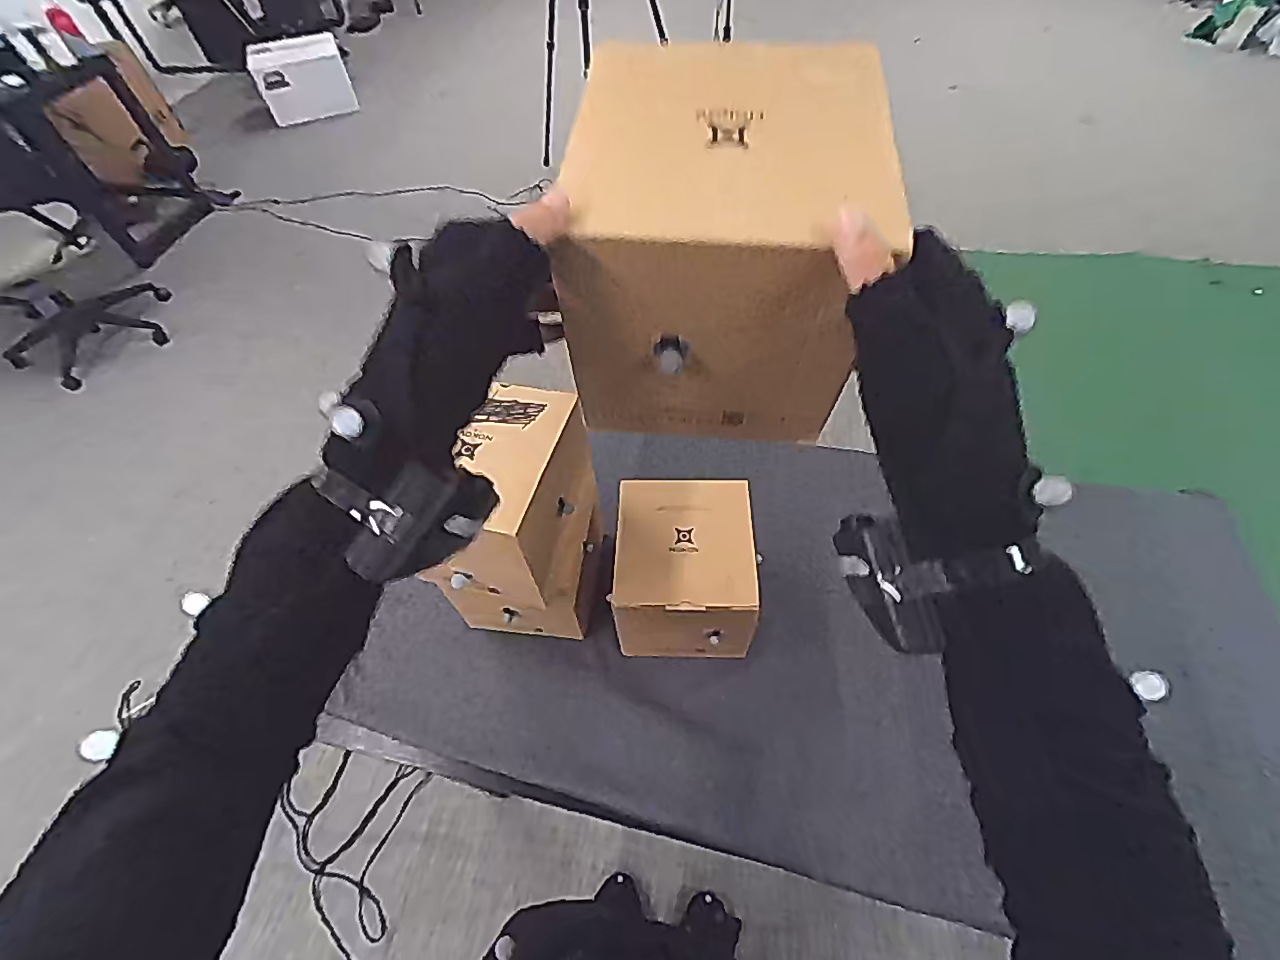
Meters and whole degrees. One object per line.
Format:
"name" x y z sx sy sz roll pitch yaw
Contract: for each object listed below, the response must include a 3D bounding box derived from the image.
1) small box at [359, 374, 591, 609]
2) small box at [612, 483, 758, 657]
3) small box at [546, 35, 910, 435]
"small box" -0.158 0.015 0.593 0.168 0.176 0.179 11 56 10
"small box" 0.057 0.121 0.708 0.168 0.176 0.179 1 53 2
"small box" 0.049 -0.145 0.348 0.168 0.176 0.179 4 62 4
